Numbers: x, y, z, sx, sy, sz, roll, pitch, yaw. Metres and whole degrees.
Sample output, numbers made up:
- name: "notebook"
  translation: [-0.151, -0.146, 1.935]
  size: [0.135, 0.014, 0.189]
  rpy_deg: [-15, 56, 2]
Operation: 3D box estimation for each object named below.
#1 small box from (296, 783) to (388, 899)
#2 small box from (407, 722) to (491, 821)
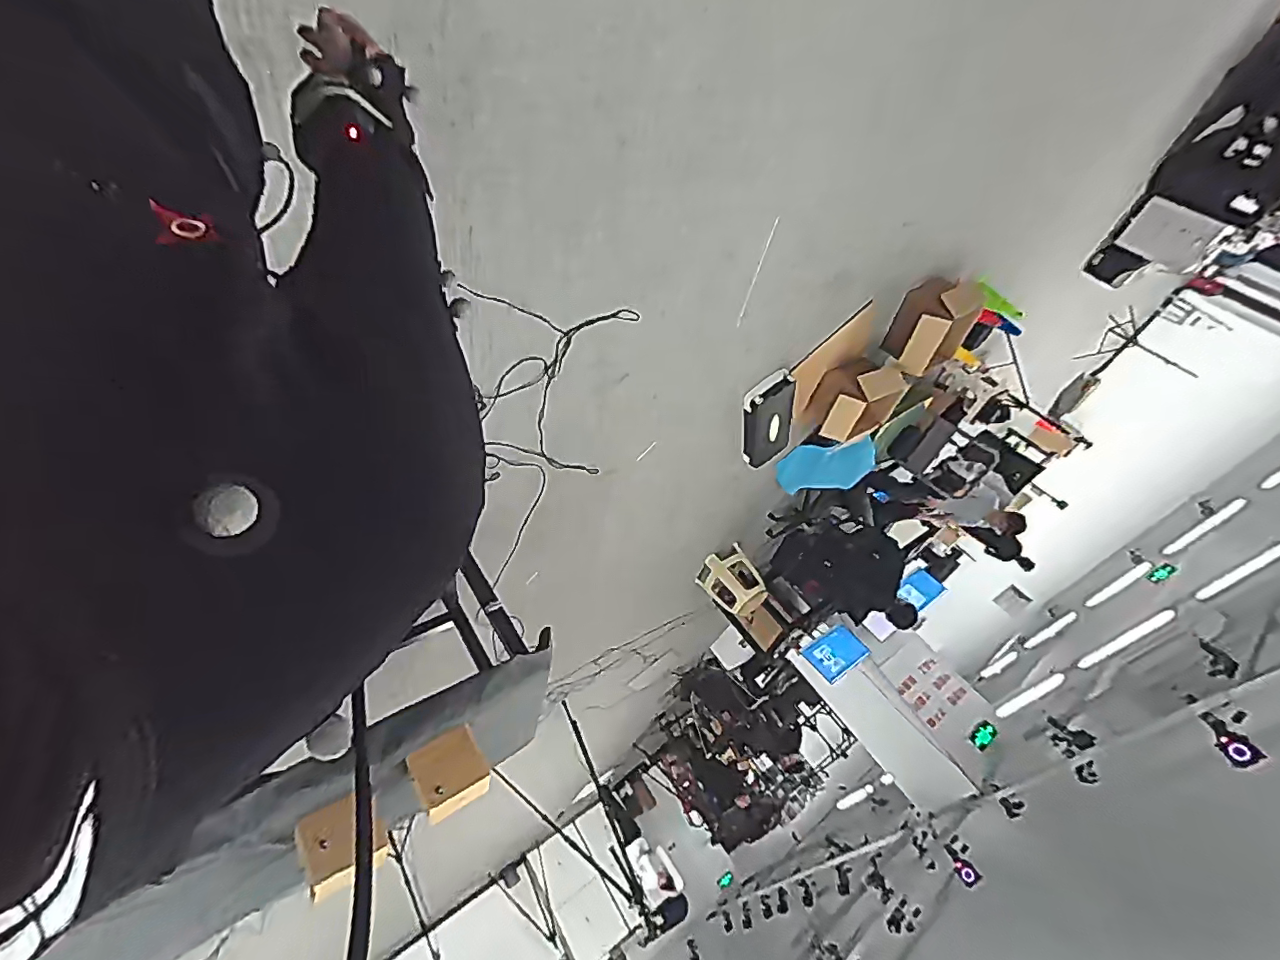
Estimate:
- name: "small box"
  translation: [-0.795, 0.950, 1.434]
  size: [0.179, 0.176, 0.168]
  rpy_deg: [-13, 143, -41]
- name: "small box"
  translation: [-0.551, 0.831, 1.553]
  size: [0.179, 0.176, 0.168]
  rpy_deg: [-18, 146, -33]
